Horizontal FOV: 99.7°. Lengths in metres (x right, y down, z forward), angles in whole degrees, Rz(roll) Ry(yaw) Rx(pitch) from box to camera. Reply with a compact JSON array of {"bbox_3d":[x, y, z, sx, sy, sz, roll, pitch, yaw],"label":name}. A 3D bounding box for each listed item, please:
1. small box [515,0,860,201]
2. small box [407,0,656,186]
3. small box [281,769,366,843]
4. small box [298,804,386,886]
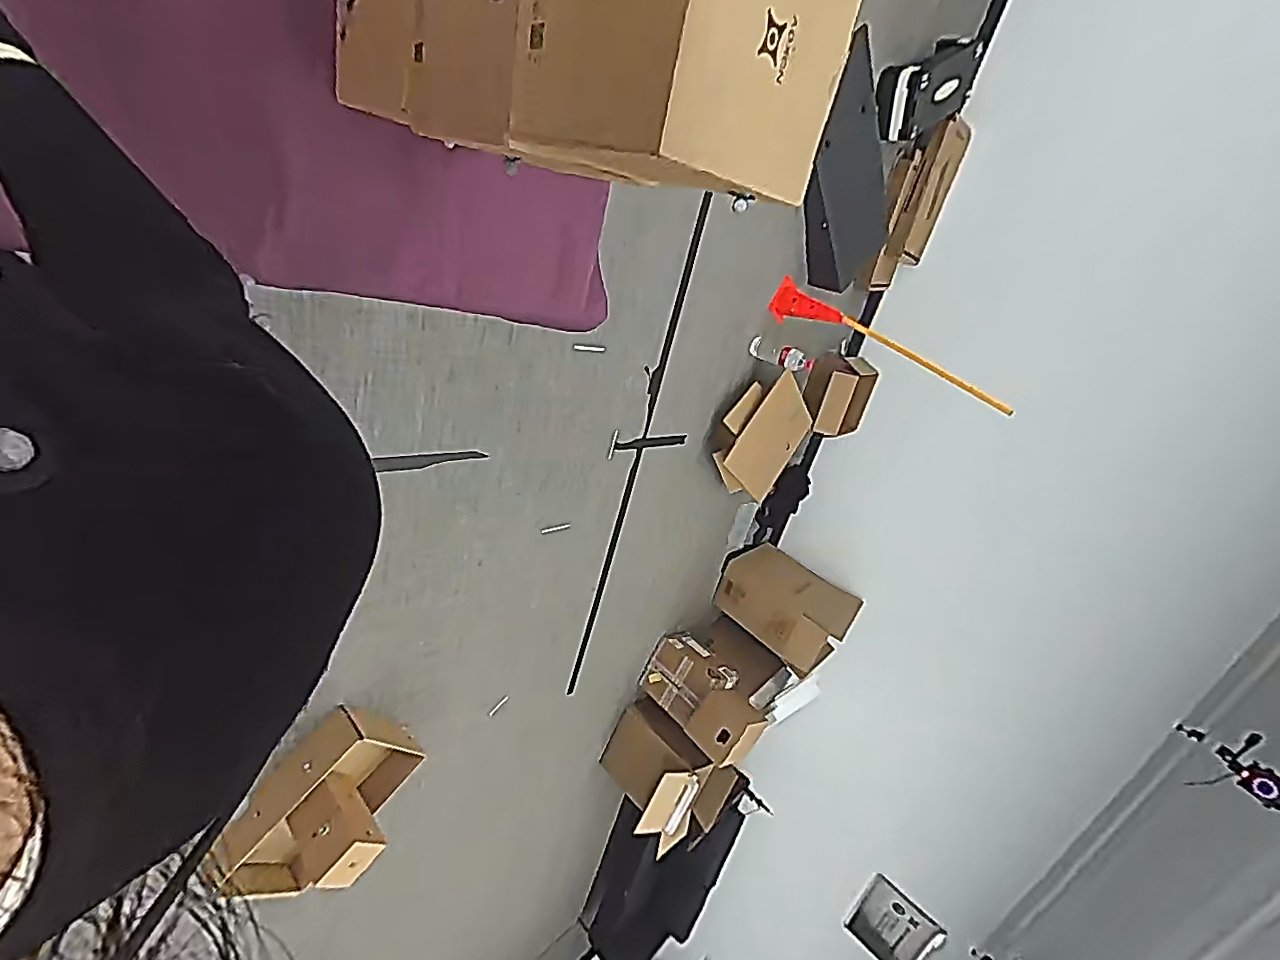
[{"bbox_3d":[0.031,-0.317,0.390,0.179,0.176,0.168,-15,128,-45],"label":"small box"},{"bbox_3d":[-0.085,-0.381,0.486,0.179,0.176,0.168,-16,128,-45],"label":"small box"},{"bbox_3d":[-1.134,1.171,1.938,0.168,0.176,0.179,-46,145,-19],"label":"small box"},{"bbox_3d":[-1.020,1.245,1.850,0.168,0.176,0.179,-47,144,-18],"label":"small box"}]
